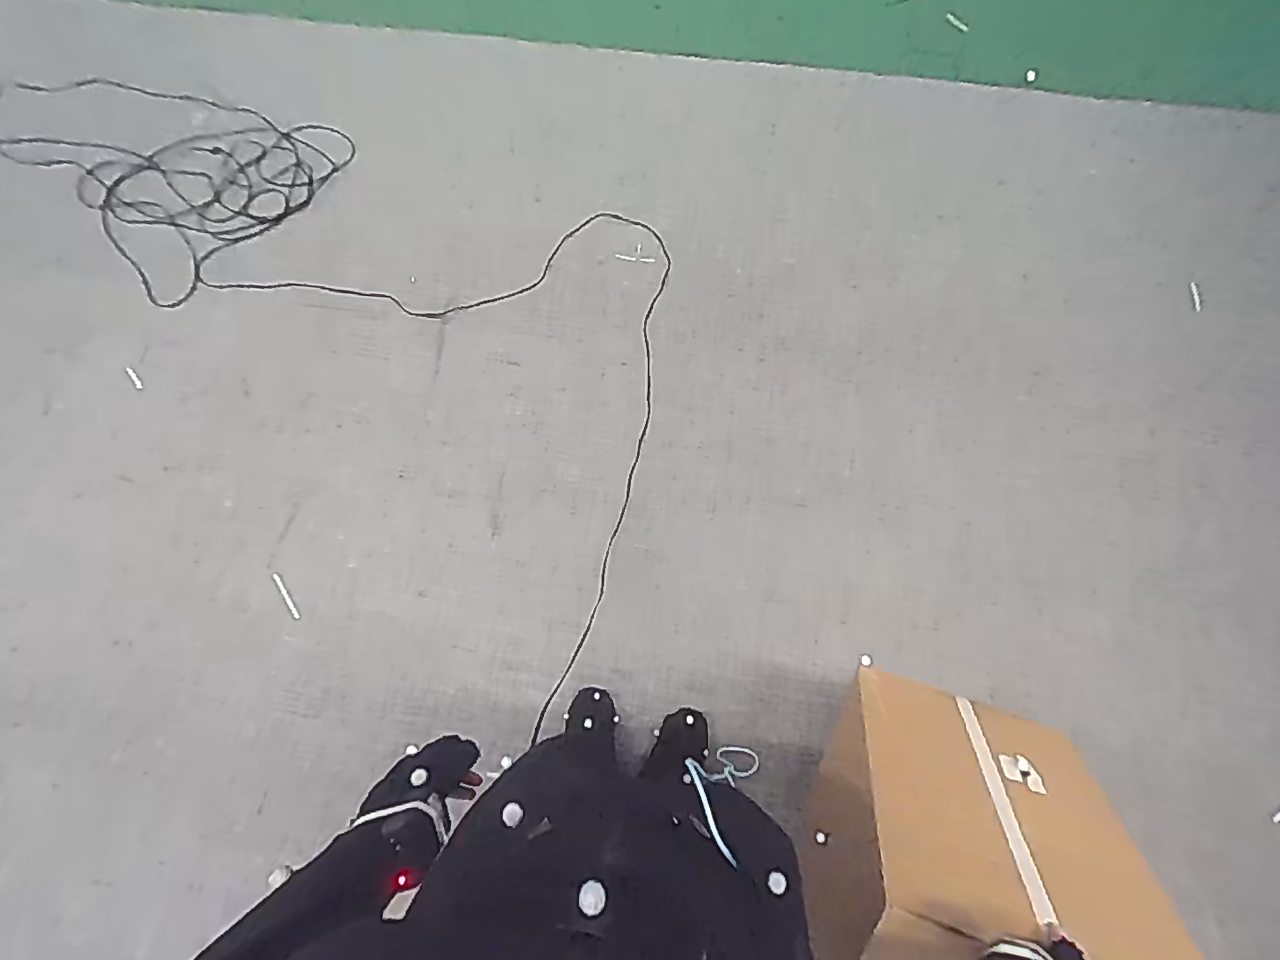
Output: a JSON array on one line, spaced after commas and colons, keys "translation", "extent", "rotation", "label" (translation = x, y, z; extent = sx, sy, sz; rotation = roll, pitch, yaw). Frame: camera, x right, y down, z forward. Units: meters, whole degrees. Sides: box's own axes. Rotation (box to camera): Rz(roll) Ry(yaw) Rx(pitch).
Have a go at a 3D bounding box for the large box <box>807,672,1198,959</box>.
[{"translation": [0.417, 0.545, 0.722], "extent": [0.320, 0.408, 0.320], "rotation": [17, 110, 13], "label": "large box"}]
